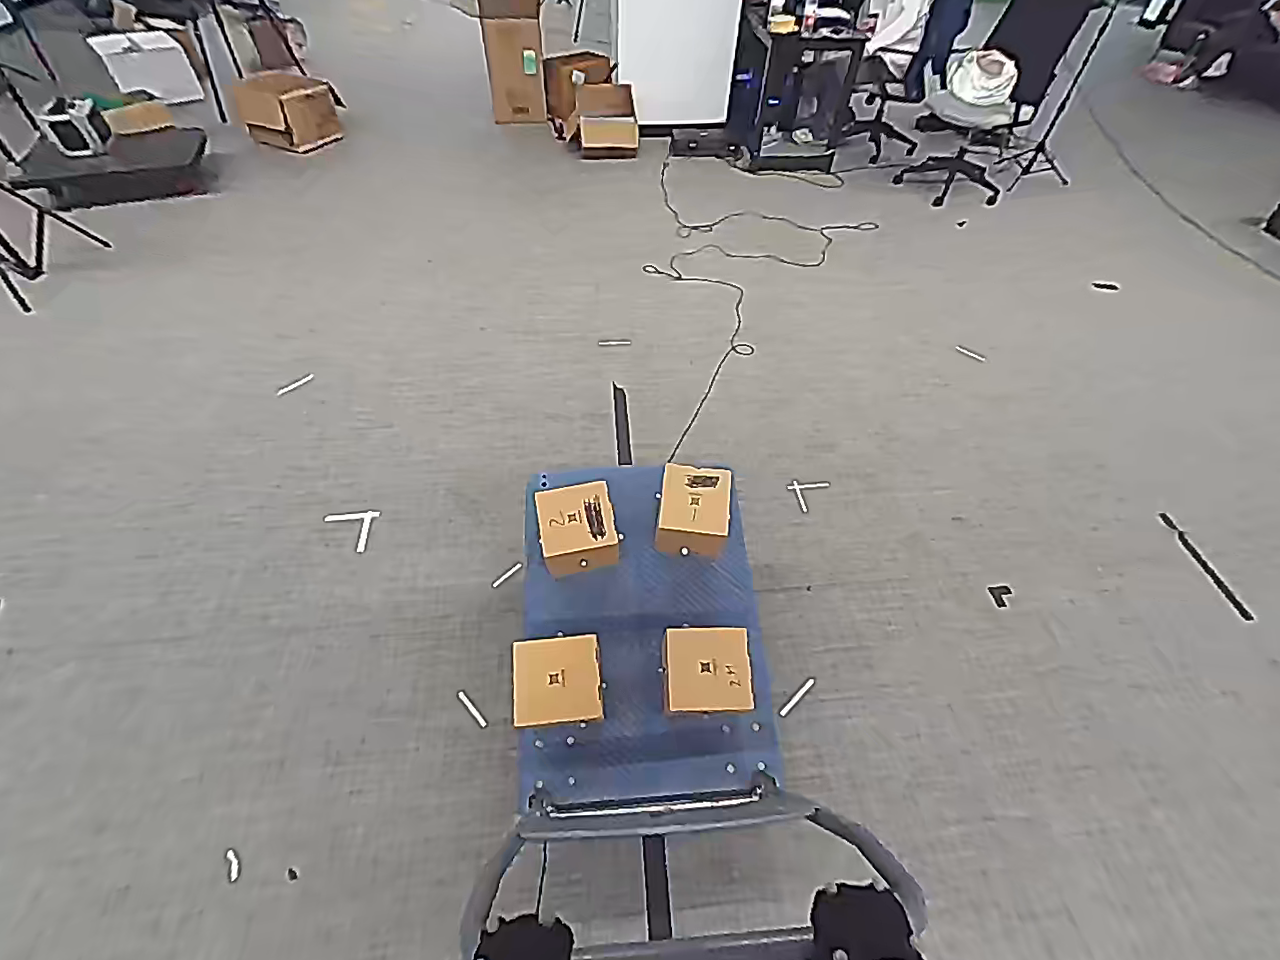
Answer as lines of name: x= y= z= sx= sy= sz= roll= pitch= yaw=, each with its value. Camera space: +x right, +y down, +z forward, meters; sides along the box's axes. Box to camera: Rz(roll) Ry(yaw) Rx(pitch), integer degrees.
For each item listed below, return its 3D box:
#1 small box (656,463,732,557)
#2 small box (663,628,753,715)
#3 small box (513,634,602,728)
small box: x=0.132 y=0.080 z=1.365 sx=0.168 sy=0.176 sz=0.179 roll=7 pitch=65 yaw=1
small box: x=0.141 y=0.427 z=1.195 sx=0.179 sy=0.176 sz=0.168 roll=1 pitch=64 yaw=-2
small box: x=-0.175 y=0.441 z=1.175 sx=0.179 sy=0.176 sz=0.168 roll=-4 pitch=64 yaw=-6
